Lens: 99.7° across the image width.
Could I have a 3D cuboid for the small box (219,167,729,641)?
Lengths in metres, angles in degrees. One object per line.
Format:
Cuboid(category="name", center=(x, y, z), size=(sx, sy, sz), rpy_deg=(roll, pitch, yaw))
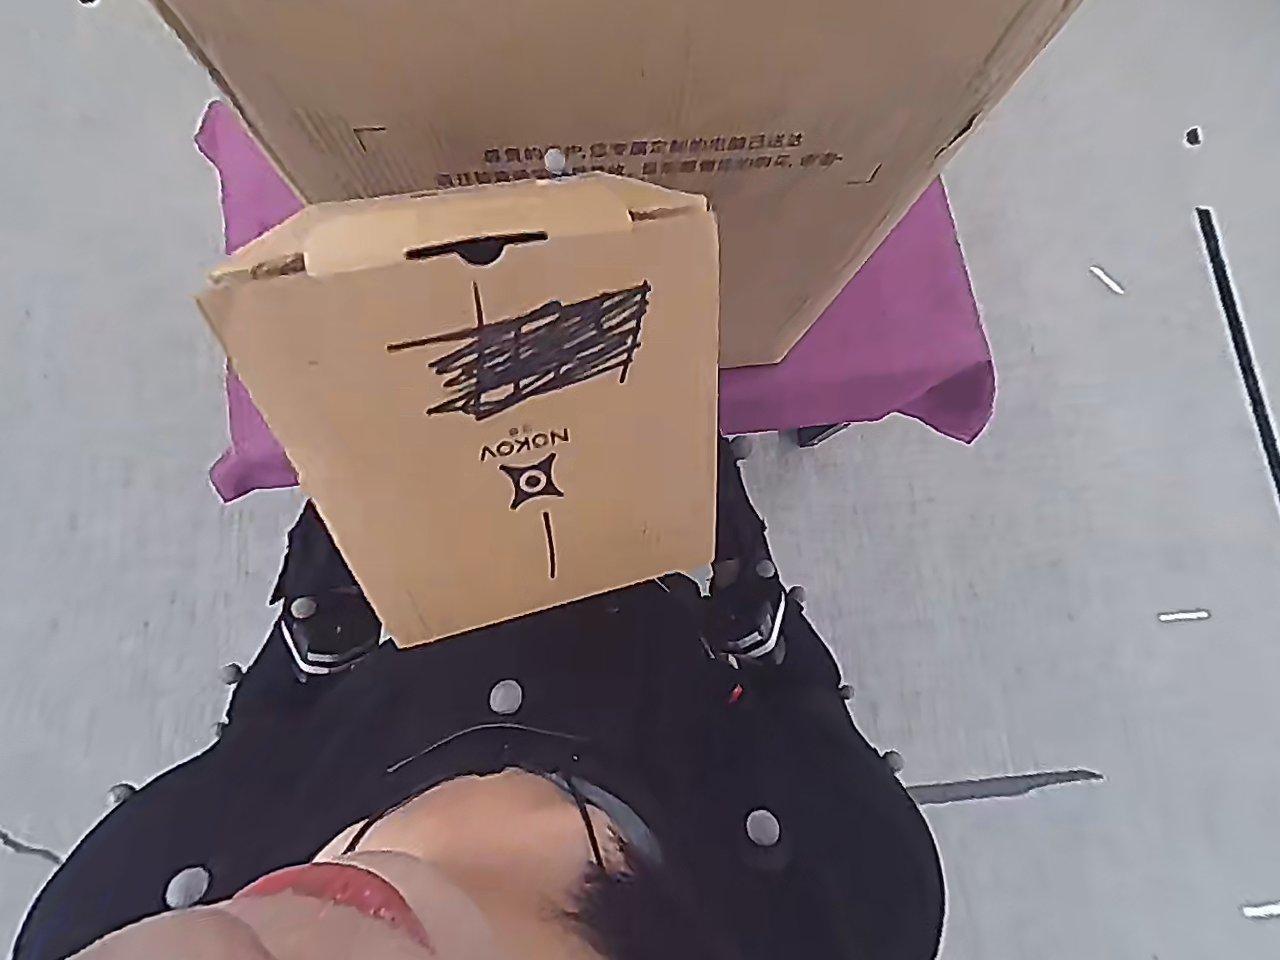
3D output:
Cuboid(category="small box", center=(-0.064, -0.056, 0.282), size=(0.168, 0.176, 0.179), rpy_deg=(-14, 125, -11))
